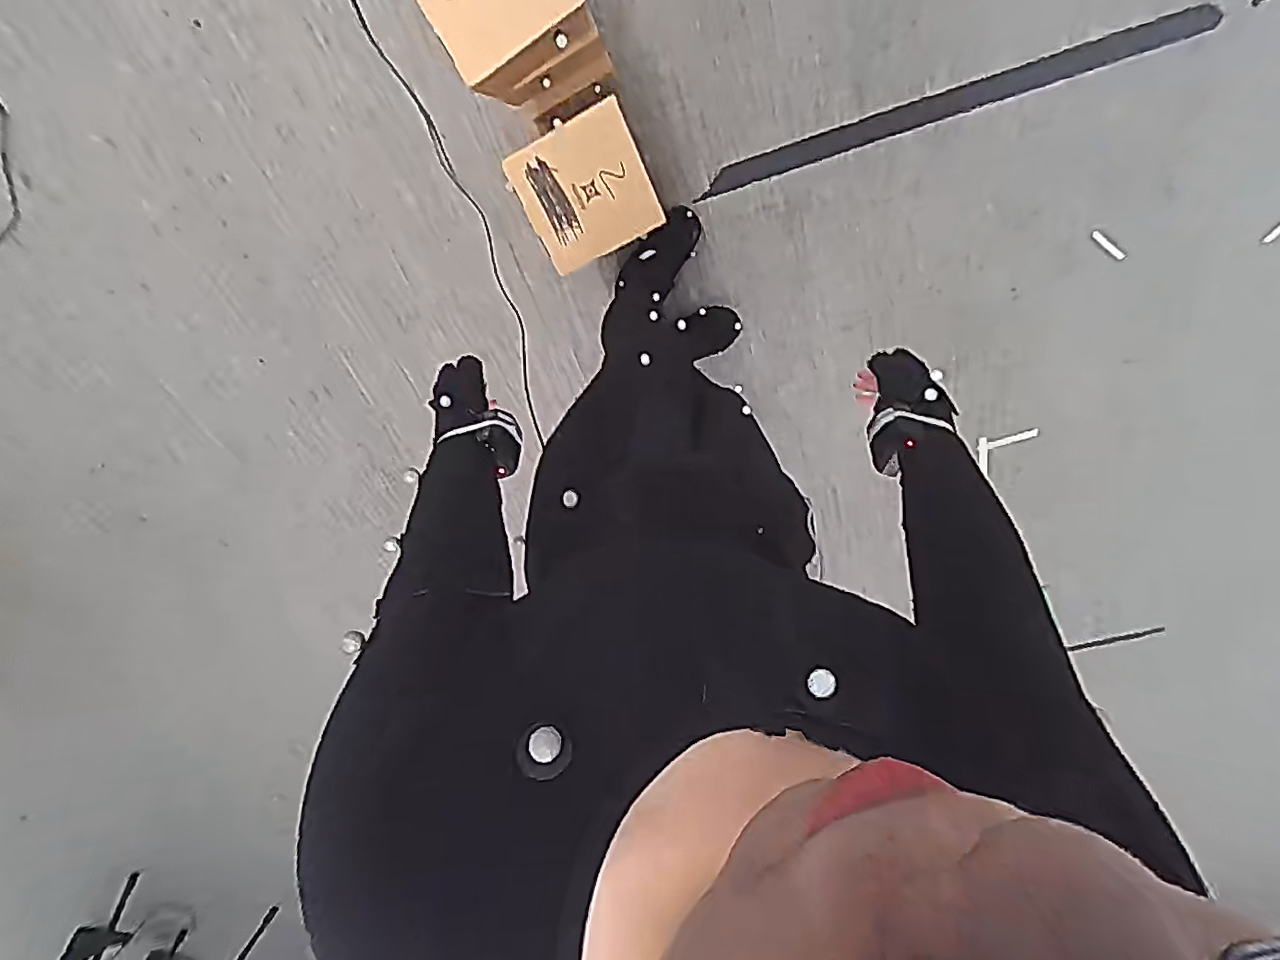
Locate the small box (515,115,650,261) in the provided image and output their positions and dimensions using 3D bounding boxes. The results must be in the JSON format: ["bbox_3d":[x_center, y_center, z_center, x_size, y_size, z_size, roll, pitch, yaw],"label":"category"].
[{"bbox_3d":[-0.095,-0.516,0.955,0.179,0.176,0.168,-21,119,11],"label":"small box"}]

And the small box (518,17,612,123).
[{"bbox_3d":[-0.161,-0.777,0.983,0.179,0.176,0.168,-24,119,13],"label":"small box"}]

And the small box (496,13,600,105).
[{"bbox_3d":[-0.173,-0.709,0.832,0.179,0.176,0.168,-24,120,12],"label":"small box"}]

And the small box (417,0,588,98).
[{"bbox_3d":[-0.179,-0.626,0.689,0.179,0.176,0.168,-26,118,14],"label":"small box"}]
